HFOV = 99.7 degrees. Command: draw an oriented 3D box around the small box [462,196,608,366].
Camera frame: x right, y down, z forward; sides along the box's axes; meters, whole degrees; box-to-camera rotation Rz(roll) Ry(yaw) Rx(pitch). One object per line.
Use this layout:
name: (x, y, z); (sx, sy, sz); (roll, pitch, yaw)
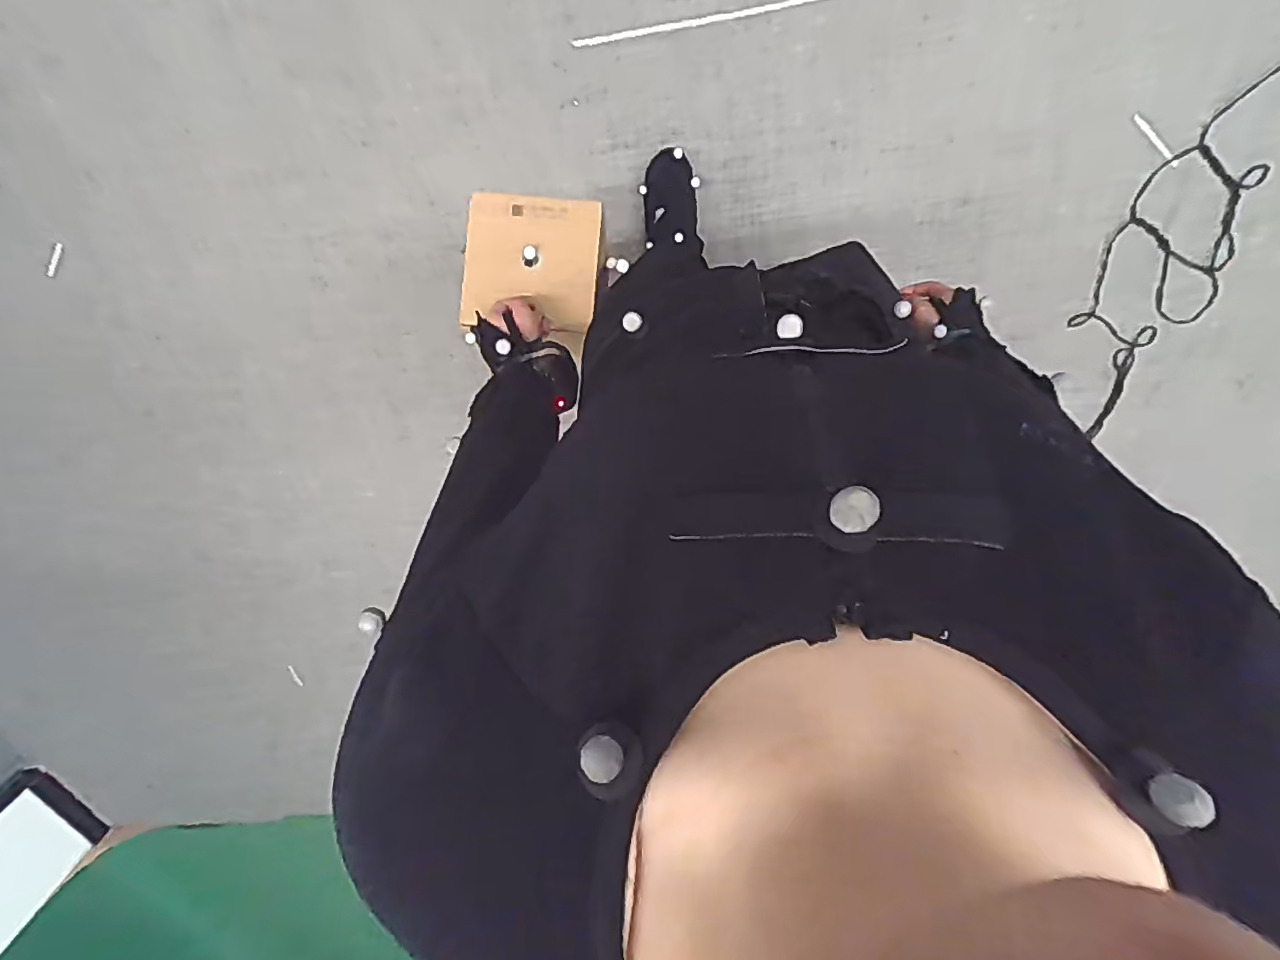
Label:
small box: (-0.135, -0.265, 0.745); (0.168, 0.179, 0.176); (5, 88, 0)
